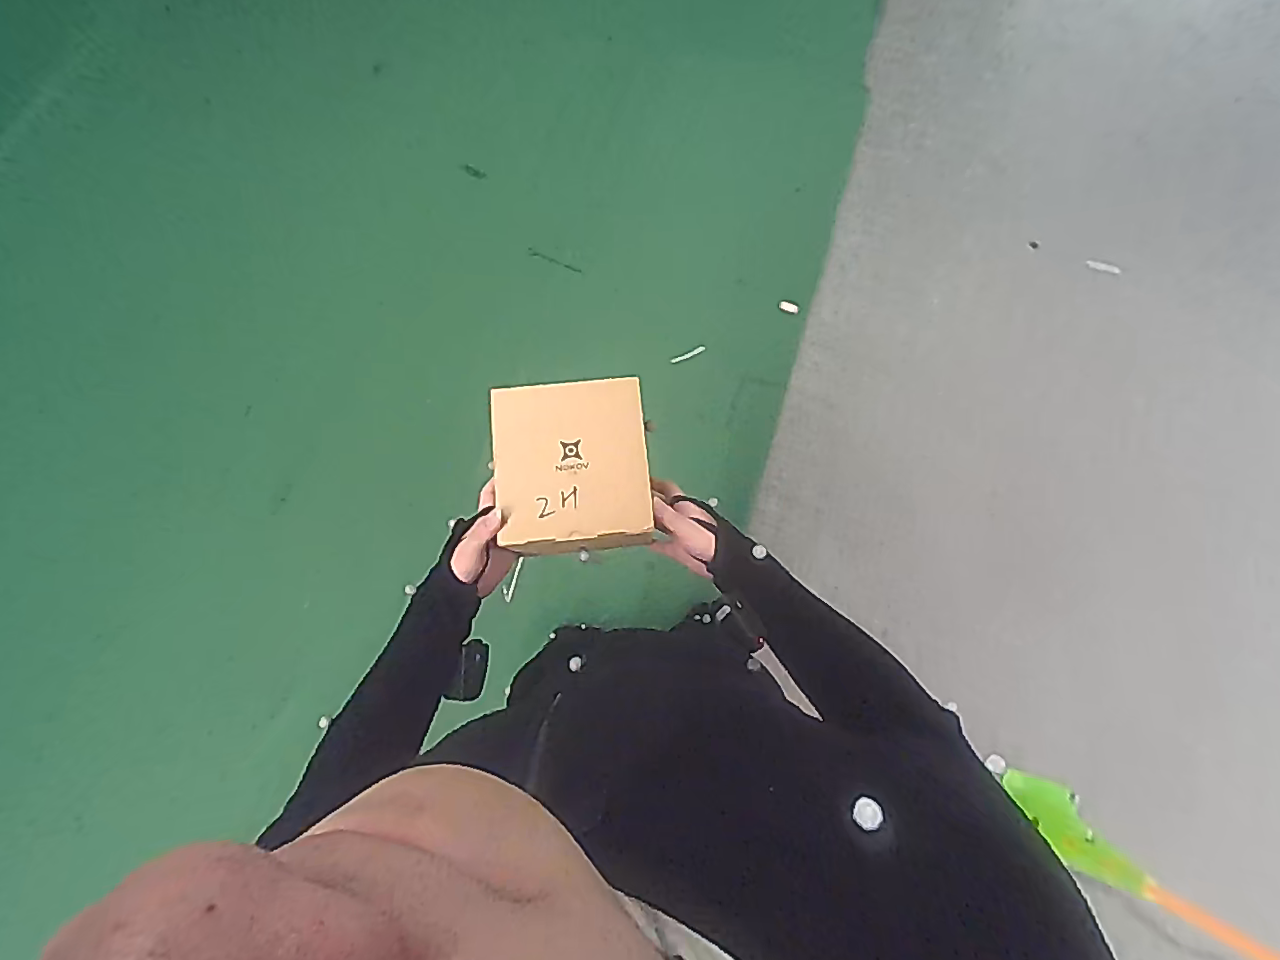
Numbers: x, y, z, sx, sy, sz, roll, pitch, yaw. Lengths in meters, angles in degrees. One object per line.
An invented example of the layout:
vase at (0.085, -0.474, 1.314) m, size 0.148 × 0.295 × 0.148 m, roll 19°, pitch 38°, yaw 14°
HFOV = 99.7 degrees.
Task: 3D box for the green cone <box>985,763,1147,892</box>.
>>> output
green cone at (1.063, 0.879, 1.325) m, size 0.200 × 0.368 × 0.202 m, roll 17°, pitch 82°, yaw 5°
